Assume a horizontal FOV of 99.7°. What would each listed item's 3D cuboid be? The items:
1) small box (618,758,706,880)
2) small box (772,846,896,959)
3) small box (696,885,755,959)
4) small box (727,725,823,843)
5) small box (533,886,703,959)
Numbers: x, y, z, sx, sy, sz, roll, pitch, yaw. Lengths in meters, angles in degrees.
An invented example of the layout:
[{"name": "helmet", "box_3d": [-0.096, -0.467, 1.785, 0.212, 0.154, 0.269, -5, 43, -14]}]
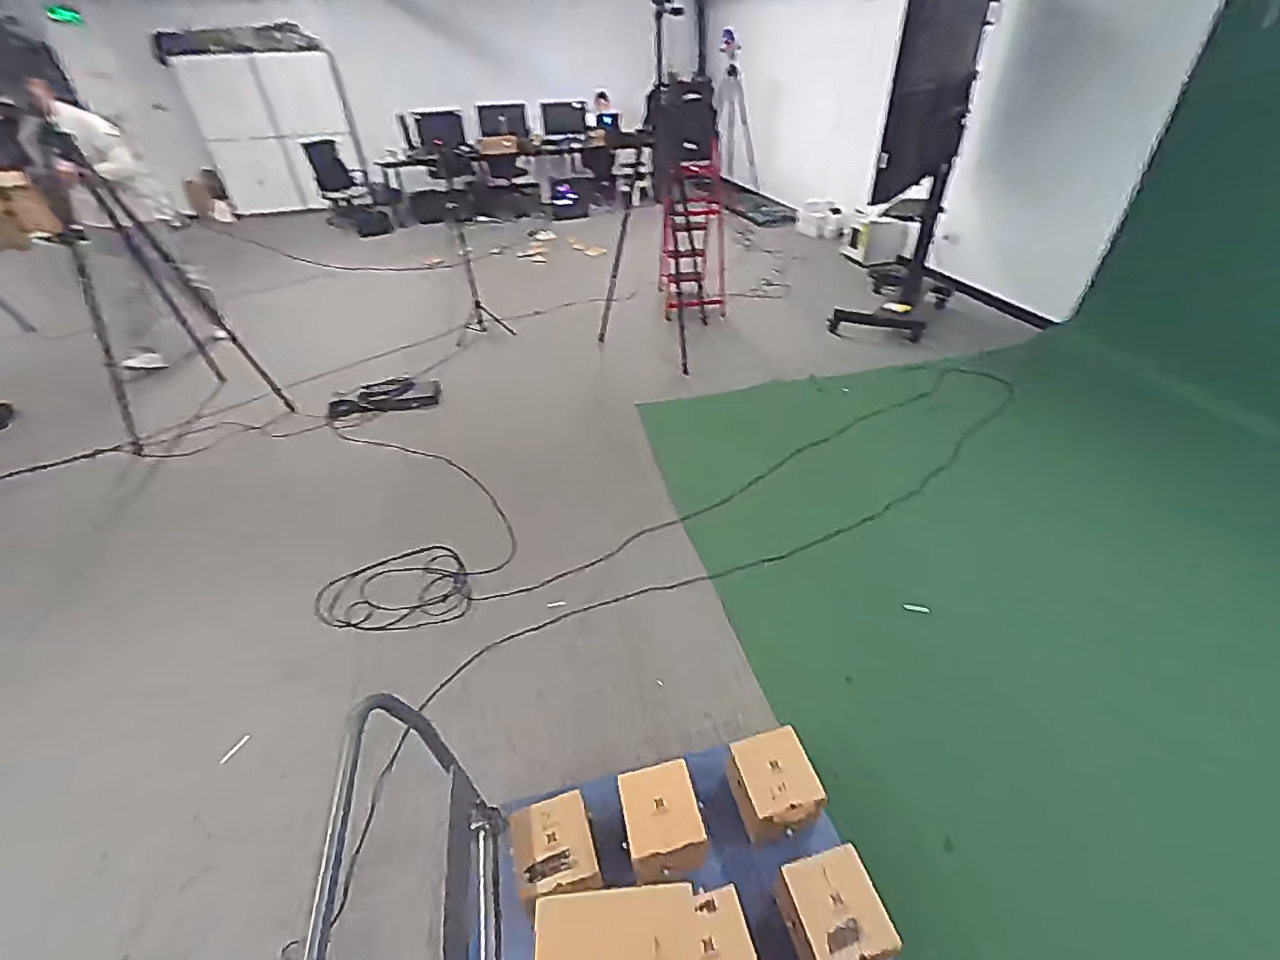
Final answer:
[{"name": "small box", "box_3d": [0.046, 0.792, 1.263, 0.168, 0.176, 0.179, -10, 40, -9]}, {"name": "small box", "box_3d": [0.390, 0.905, 1.119, 0.168, 0.176, 0.179, -11, 38, -10]}, {"name": "small box", "box_3d": [0.130, 0.943, 1.063, 0.168, 0.176, 0.179, -9, 39, -9]}, {"name": "small box", "box_3d": [0.316, 0.735, 1.310, 0.168, 0.176, 0.179, -12, 39, -9]}, {"name": "small box", "box_3d": [-0.020, 0.570, 0.578, 0.179, 0.176, 0.168, -2, 34, -2]}]
